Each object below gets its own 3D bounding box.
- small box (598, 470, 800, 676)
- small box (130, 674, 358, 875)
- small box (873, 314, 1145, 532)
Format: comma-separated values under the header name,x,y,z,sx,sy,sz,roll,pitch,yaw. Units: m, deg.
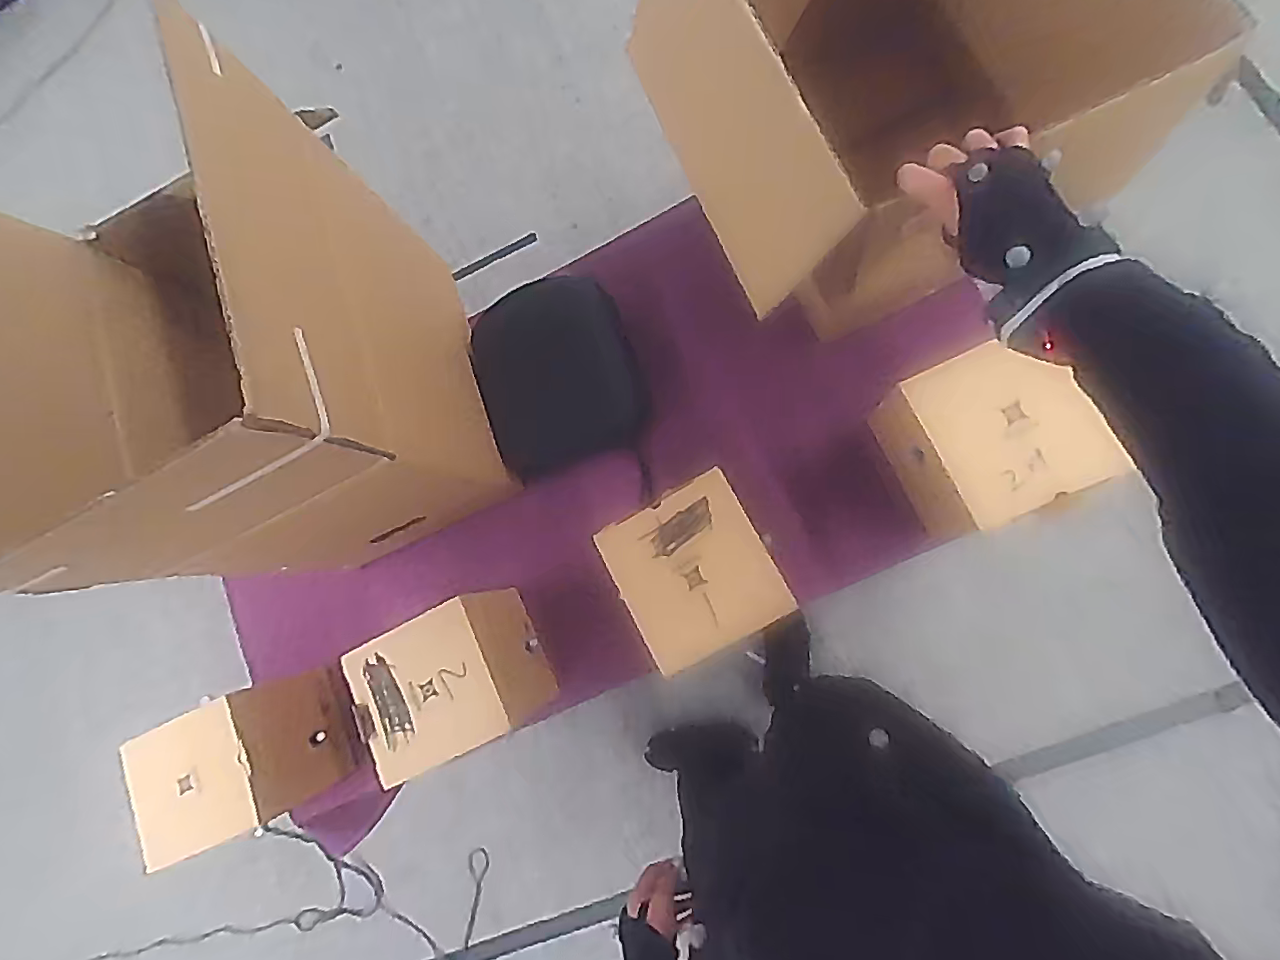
name,x,y,z,sx,sy,sz,roll,pitch,yaw
small box,0.074,0.110,0.668,0.168,0.176,0.179,-30,79,7
small box,-0.541,0.395,0.756,0.179,0.176,0.168,-26,78,6
small box,0.394,-0.050,0.621,0.168,0.176,0.179,-25,78,9
